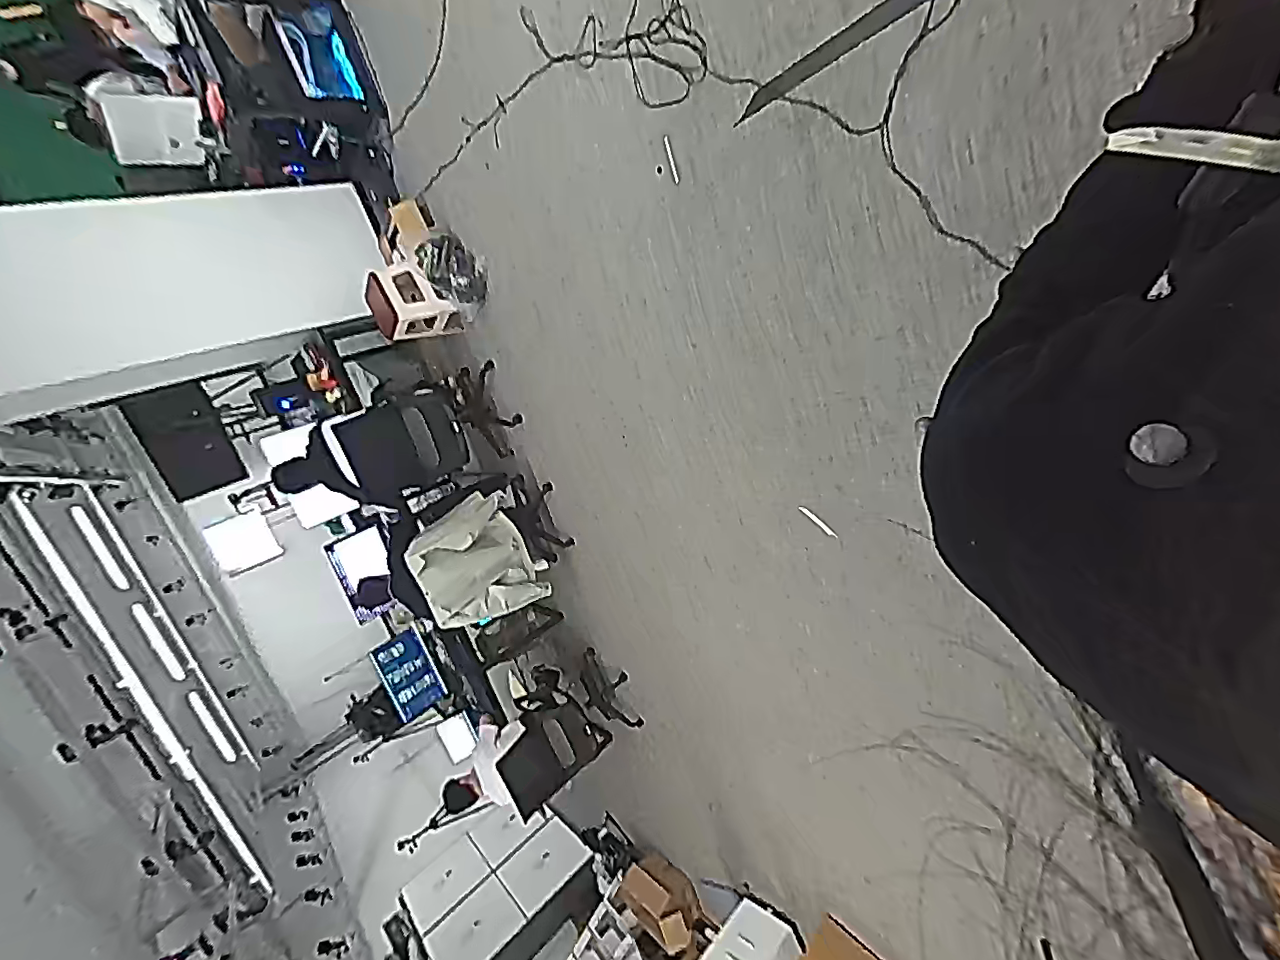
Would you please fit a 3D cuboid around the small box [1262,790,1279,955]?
[{"bbox_3d":[1.037,0.606,0.785,0.168,0.176,0.179,0,111,52],"label":"small box"}]
